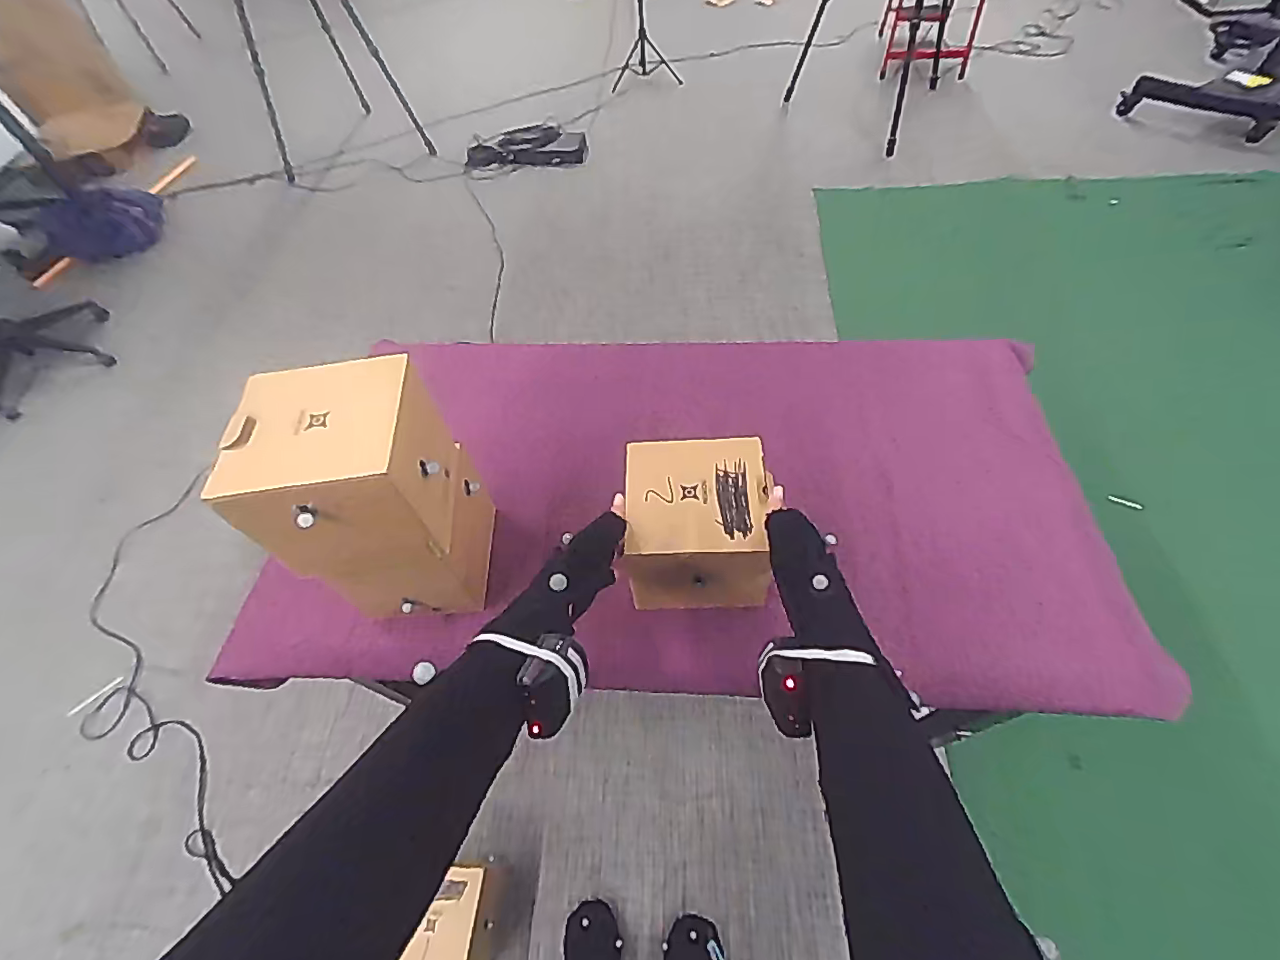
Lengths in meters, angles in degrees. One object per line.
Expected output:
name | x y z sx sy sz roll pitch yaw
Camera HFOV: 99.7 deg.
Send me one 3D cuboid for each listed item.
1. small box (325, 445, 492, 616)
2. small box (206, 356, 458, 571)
small box | -0.313 0.073 0.748 0.168 0.176 0.179 -3 54 2
small box | -0.319 -0.013 0.608 0.179 0.176 0.168 -8 55 -1
